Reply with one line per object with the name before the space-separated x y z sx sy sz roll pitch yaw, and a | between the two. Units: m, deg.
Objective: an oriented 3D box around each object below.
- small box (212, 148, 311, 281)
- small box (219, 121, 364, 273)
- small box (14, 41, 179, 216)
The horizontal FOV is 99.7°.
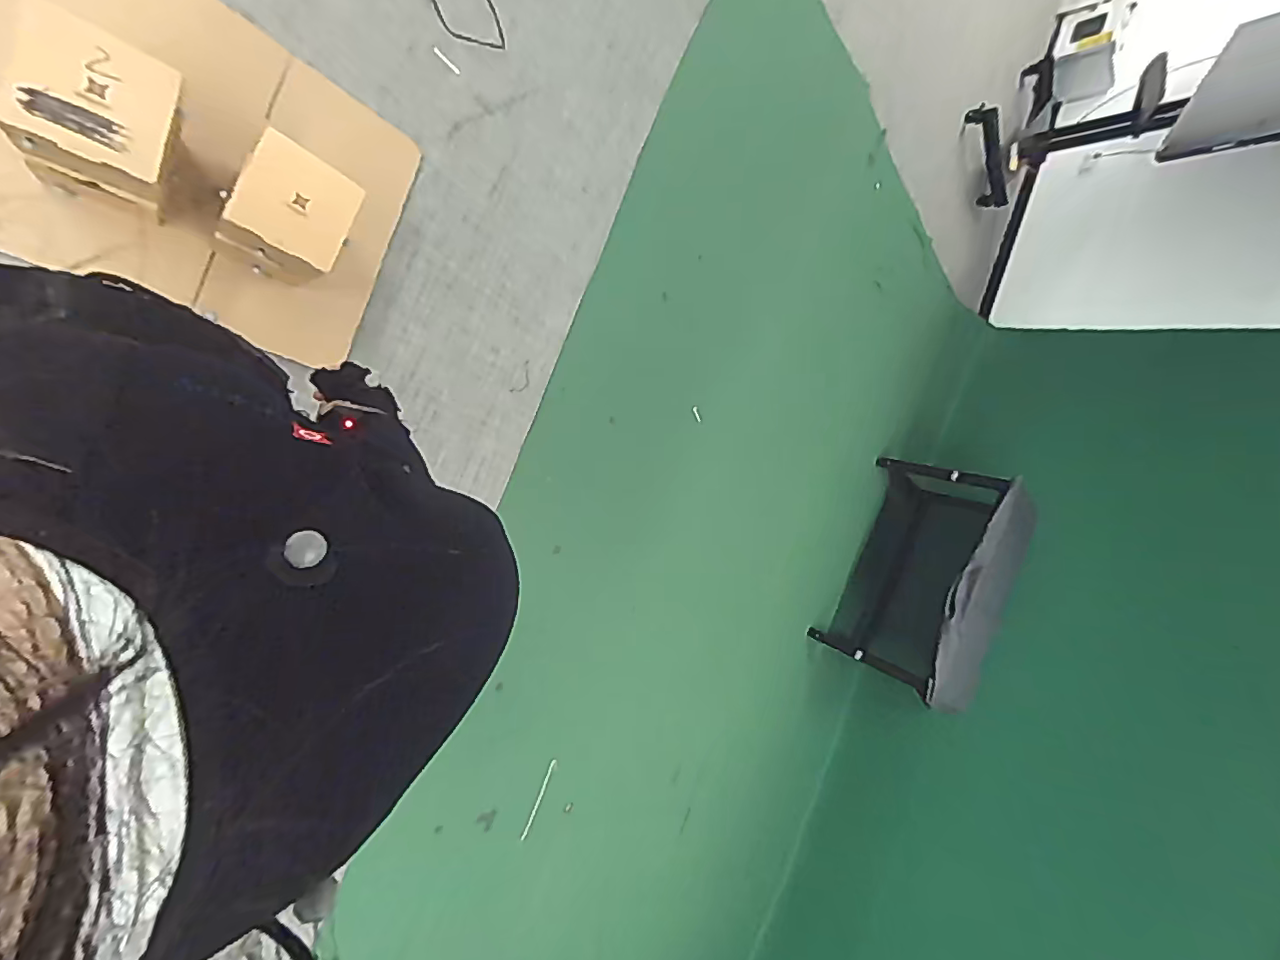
small box | -0.753 -0.531 1.110 0.168 0.176 0.179 21 88 -41
small box | -0.644 -0.504 0.993 0.168 0.176 0.179 26 85 -42
small box | -0.925 -0.587 0.937 0.168 0.176 0.179 16 91 -43
